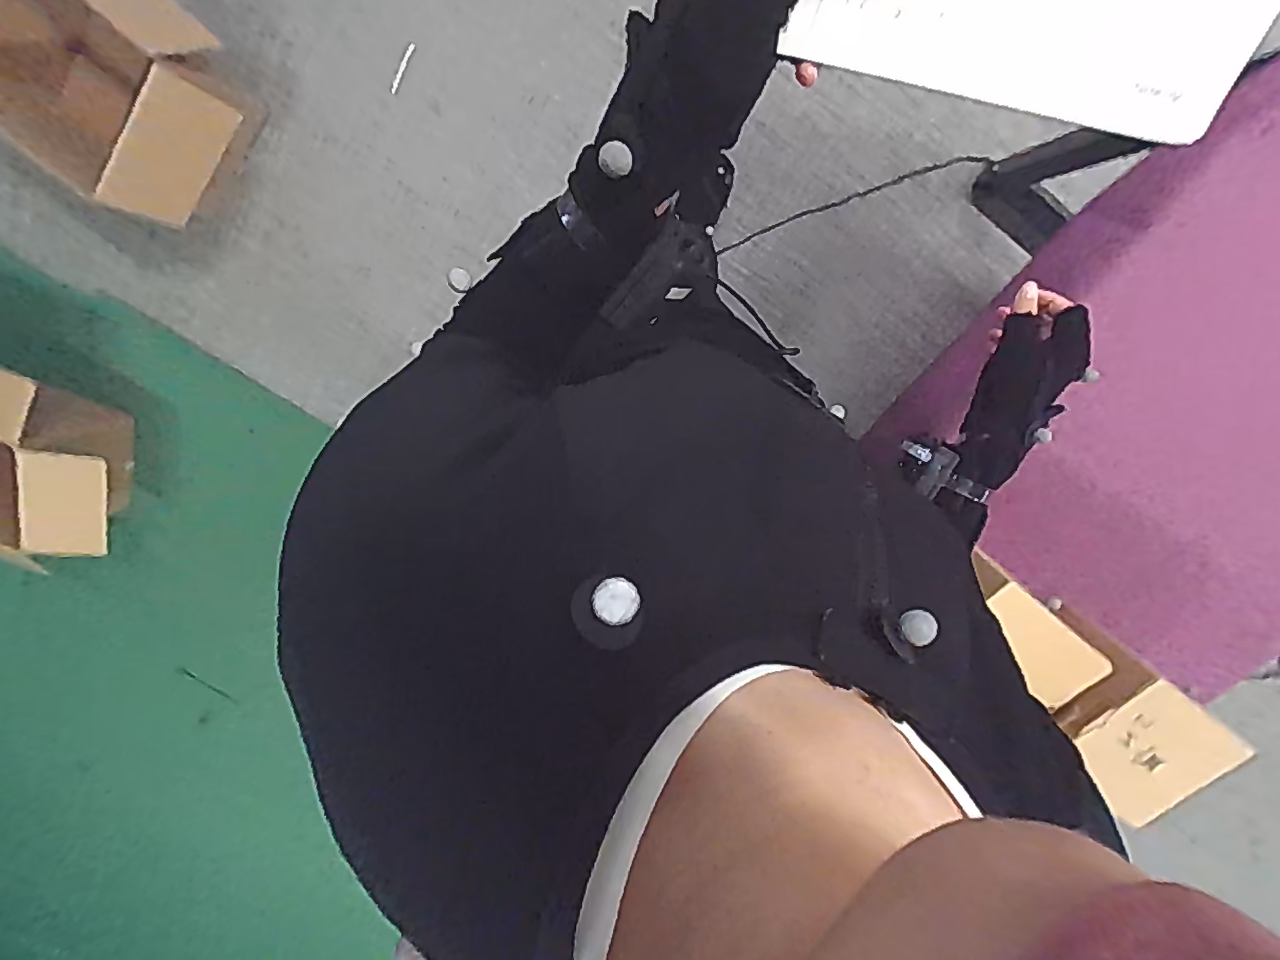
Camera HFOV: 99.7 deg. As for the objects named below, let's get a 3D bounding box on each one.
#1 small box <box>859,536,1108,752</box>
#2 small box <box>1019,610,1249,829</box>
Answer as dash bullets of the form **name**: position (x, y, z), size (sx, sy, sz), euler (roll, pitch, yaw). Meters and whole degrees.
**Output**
- **small box**: position (0.418, 0.195, 0.695), size (0.179, 0.176, 0.168), euler (38, 107, -9)
- **small box**: position (0.609, 0.309, 0.724), size (0.179, 0.176, 0.168), euler (36, 108, -9)
